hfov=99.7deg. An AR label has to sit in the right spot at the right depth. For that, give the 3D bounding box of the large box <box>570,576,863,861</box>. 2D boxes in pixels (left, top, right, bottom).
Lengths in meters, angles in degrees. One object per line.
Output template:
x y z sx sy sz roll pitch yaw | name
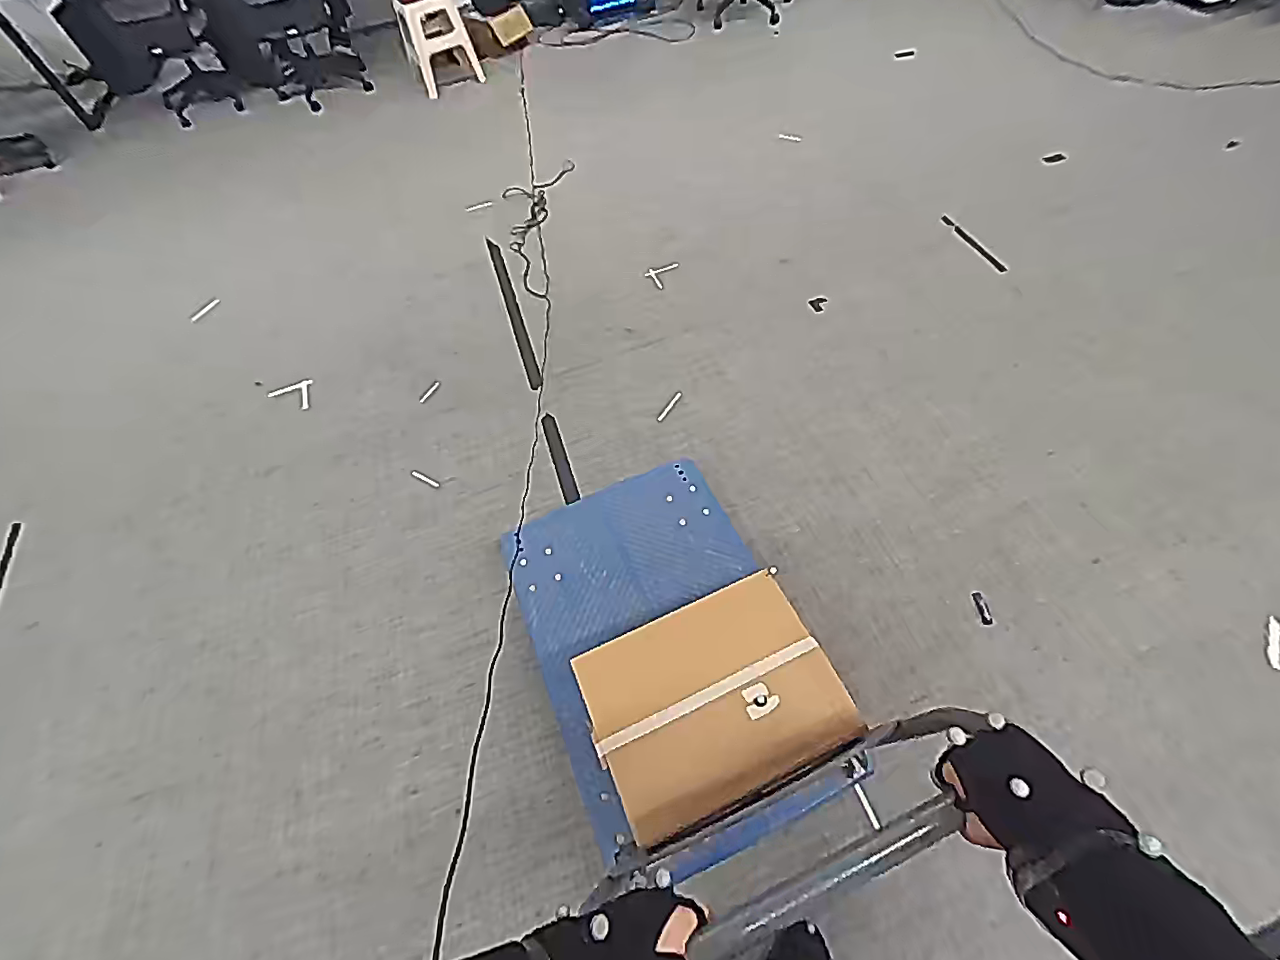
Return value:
0.127 0.451 1.022 0.408 0.320 0.320 -23 58 -10 | large box
